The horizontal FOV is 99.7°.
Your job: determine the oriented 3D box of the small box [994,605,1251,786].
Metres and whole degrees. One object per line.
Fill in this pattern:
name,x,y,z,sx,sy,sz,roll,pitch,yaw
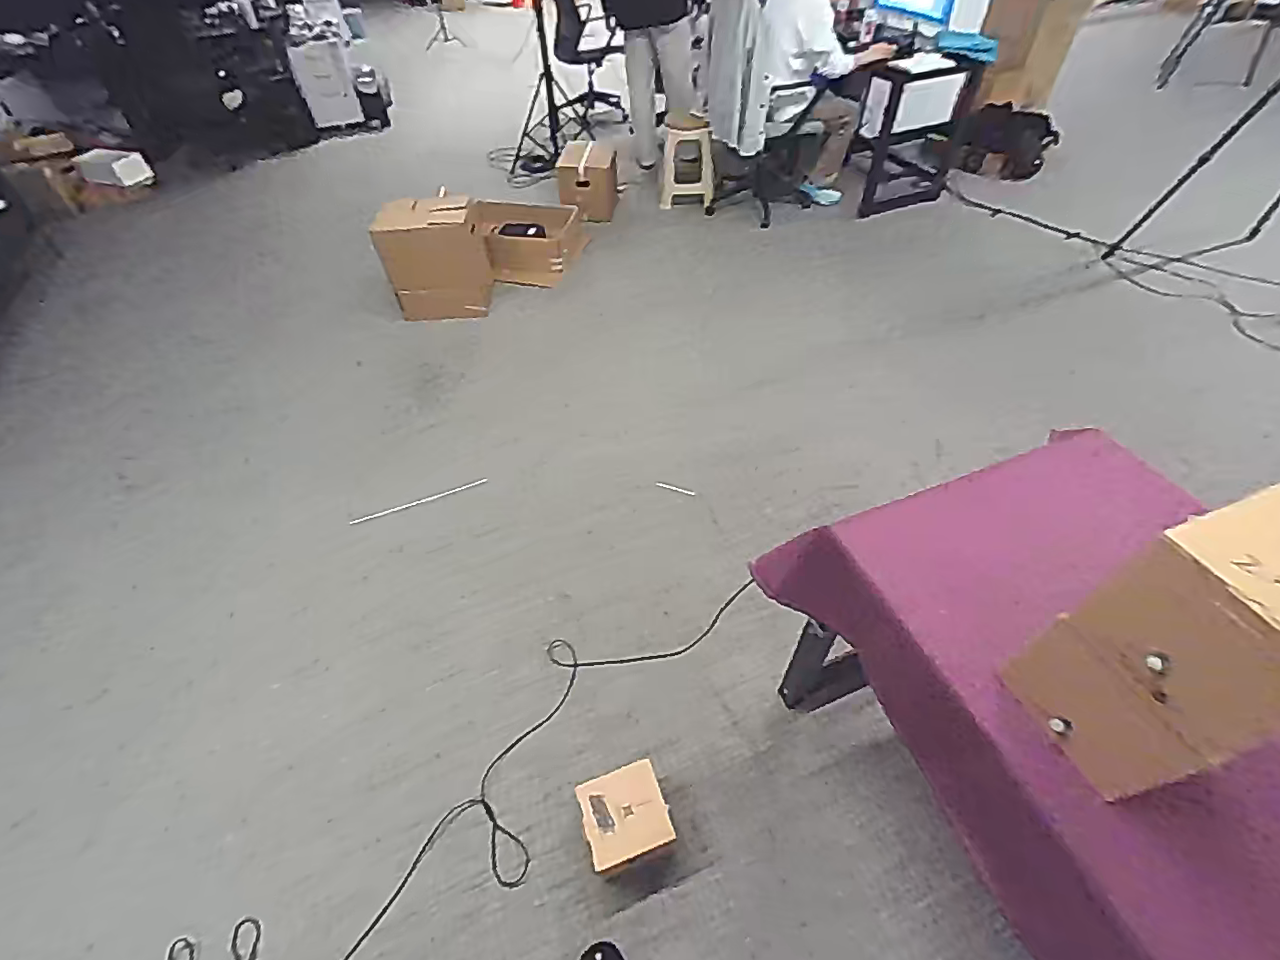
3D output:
small box,0.591,0.246,0.657,0.168,0.176,0.179,-18,52,-14

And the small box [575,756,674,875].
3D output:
small box,-0.033,0.753,1.210,0.179,0.176,0.168,-16,50,-12

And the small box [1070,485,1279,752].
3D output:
small box,0.590,0.136,0.533,0.179,0.176,0.168,-17,50,-12
